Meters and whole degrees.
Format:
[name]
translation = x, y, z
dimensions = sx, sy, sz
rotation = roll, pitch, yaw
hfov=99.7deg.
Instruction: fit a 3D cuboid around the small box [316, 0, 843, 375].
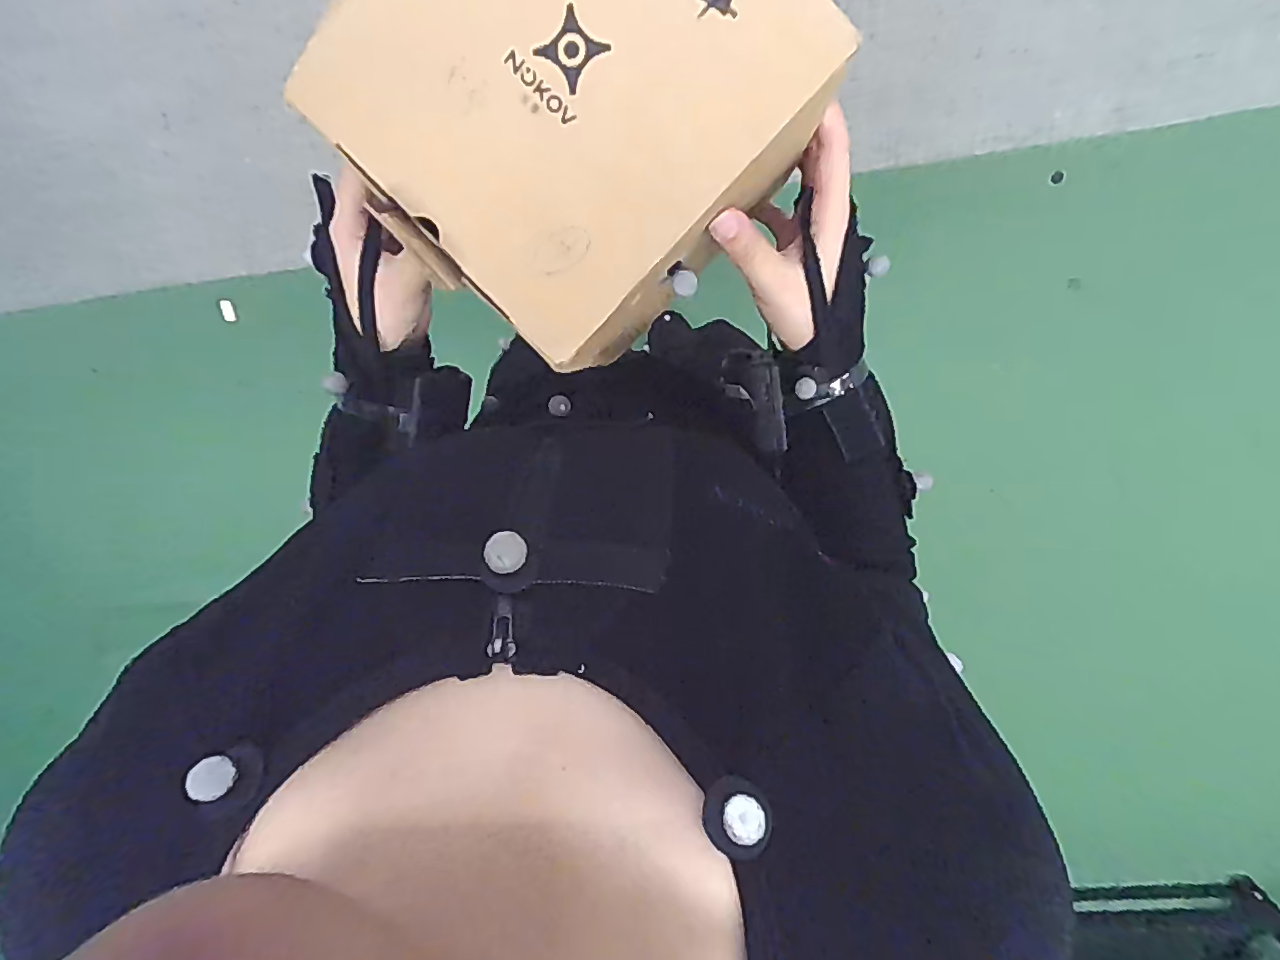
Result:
[small box]
translation = -0.022, -0.180, 0.307
dimensions = 0.168, 0.176, 0.179
rotation = 45, 104, -5
